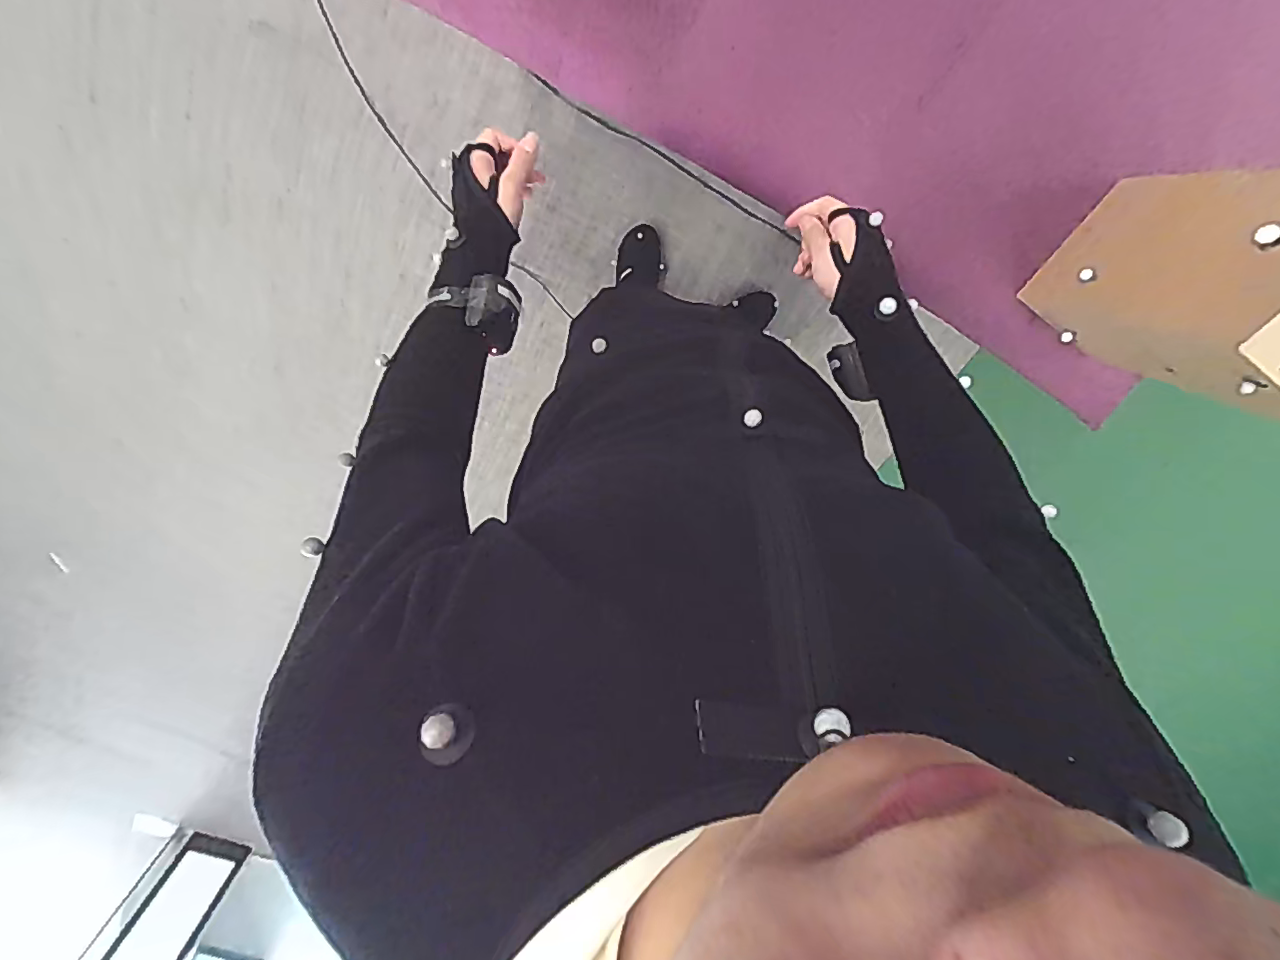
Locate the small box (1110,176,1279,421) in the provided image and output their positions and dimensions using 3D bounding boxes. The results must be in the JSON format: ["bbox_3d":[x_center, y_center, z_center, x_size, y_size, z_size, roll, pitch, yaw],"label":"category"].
[{"bbox_3d":[0.638,-0.177,0.530,0.168,0.176,0.179,31,113,-12],"label":"small box"}]
